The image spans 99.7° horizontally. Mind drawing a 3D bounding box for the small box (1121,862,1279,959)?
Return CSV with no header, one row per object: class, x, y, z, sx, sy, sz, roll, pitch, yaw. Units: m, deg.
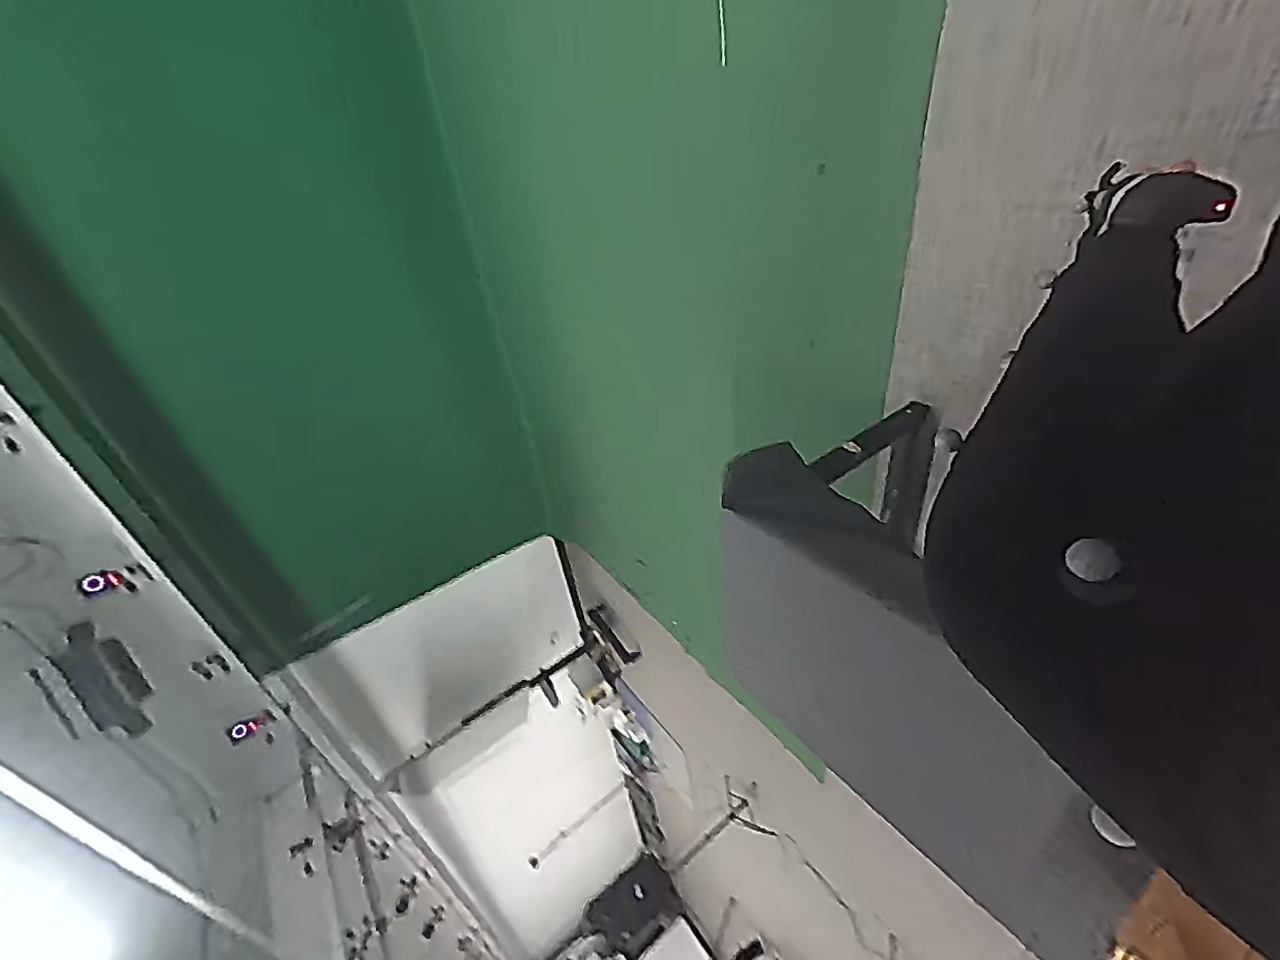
small box,0.682,0.606,0.628,0.168,0.176,0.179,30,139,50
